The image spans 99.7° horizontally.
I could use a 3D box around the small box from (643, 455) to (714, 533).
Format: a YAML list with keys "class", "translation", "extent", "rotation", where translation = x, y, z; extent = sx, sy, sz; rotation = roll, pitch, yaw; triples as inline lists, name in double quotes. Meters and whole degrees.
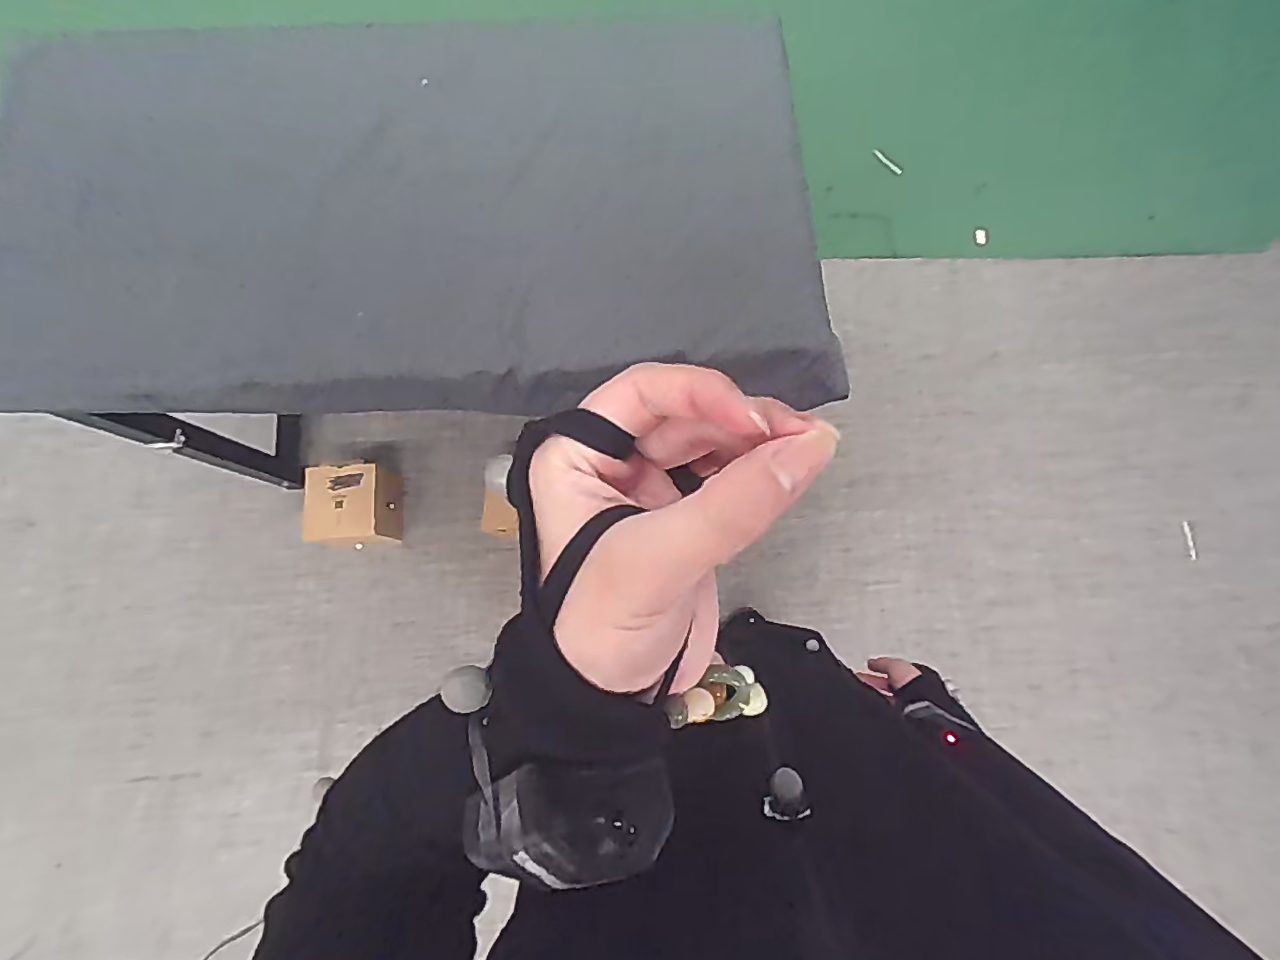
- class: "small box"
  translation: [0.095, 0.041, 1.377]
  extent: [0.168, 0.176, 0.179]
  rotation: [-1, 77, -1]

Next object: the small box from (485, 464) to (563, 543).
- class: "small box"
  translation: [-0.284, 0.064, 1.362]
  extent: [0.168, 0.176, 0.179]
  rotation: [1, 77, -3]

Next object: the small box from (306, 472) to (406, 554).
- class: "small box"
  translation: [-0.697, 0.086, 1.344]
  extent: [0.168, 0.176, 0.179]
  rotation: [-5, 79, -2]
